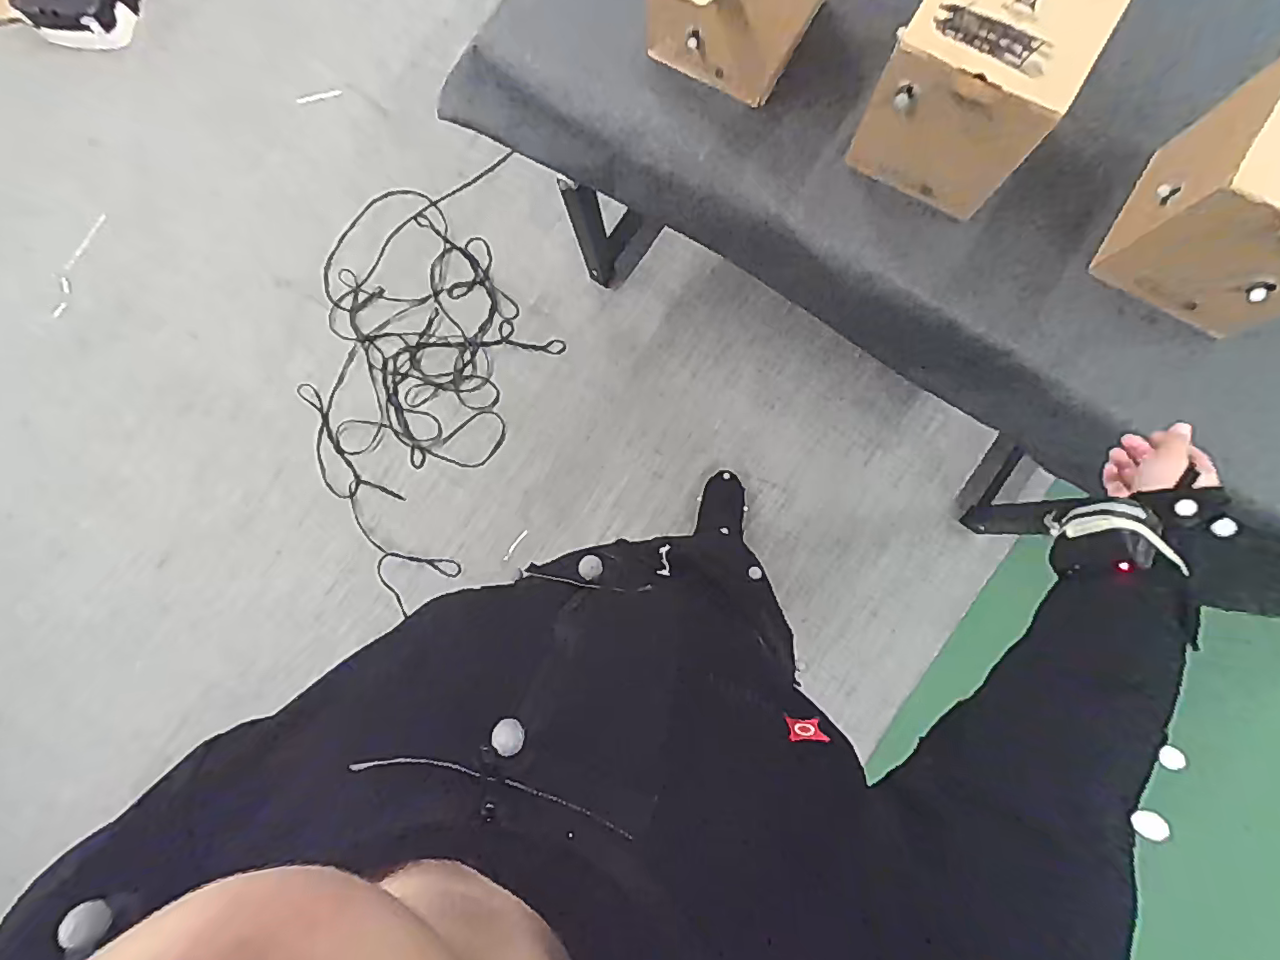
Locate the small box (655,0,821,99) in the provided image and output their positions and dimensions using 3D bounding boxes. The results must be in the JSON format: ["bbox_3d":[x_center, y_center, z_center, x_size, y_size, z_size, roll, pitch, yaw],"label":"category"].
[{"bbox_3d":[0.122,-0.591,0.607,0.168,0.176,0.179,30,88,5],"label":"small box"}]

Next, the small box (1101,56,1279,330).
[{"bbox_3d":[0.634,-0.284,0.551,0.168,0.176,0.179,31,86,4],"label":"small box"}]
